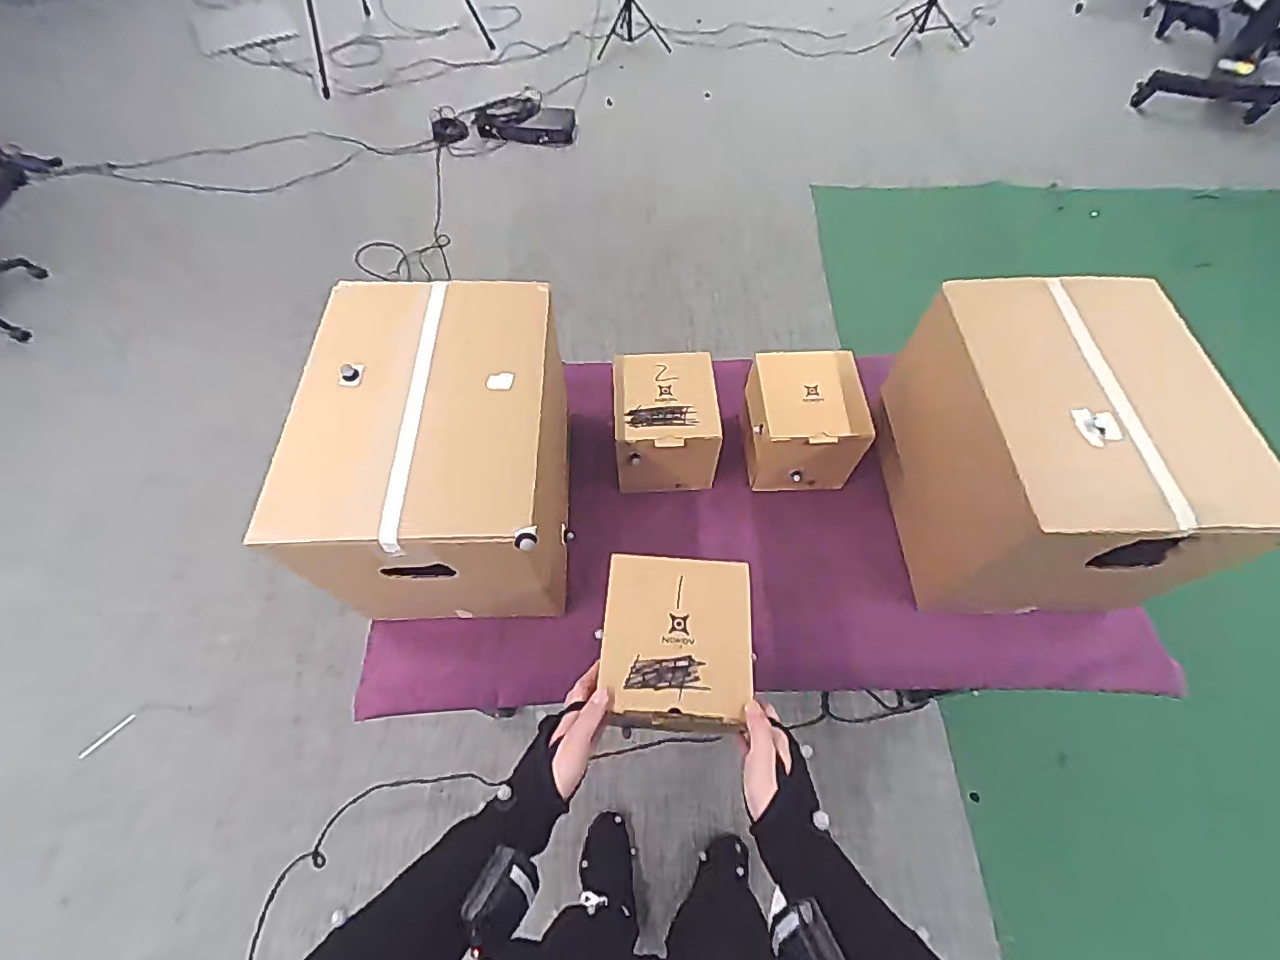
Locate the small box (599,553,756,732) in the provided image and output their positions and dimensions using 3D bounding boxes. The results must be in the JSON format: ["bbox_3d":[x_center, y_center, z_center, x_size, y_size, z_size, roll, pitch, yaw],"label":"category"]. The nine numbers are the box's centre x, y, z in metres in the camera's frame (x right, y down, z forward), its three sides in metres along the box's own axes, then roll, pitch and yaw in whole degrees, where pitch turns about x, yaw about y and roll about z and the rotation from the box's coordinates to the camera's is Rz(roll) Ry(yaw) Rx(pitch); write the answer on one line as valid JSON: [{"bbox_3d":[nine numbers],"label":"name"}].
[{"bbox_3d":[0.045,0.206,0.667,0.168,0.176,0.179,3,59,1],"label":"small box"}]

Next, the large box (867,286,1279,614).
[{"bbox_3d":[0.591,-0.035,0.820,0.320,0.320,0.408,-1,61,0],"label":"large box"}]
